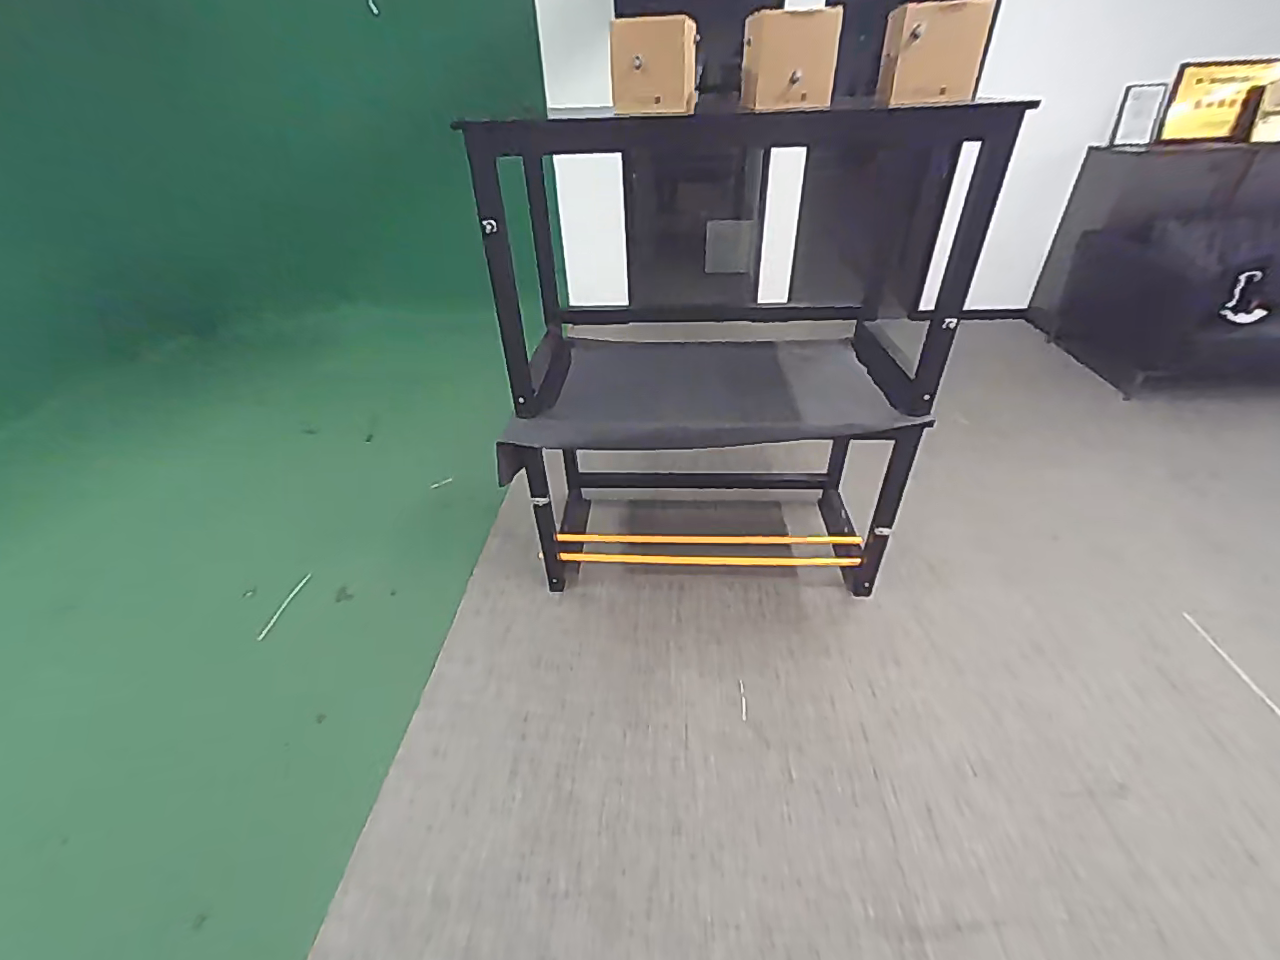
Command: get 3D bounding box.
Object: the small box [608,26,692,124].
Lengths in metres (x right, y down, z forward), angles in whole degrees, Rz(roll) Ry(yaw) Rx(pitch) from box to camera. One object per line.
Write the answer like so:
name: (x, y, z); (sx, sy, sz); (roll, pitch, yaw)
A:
small box: (0.030, -0.928, 1.250); (0.168, 0.176, 0.179); (5, 36, 10)

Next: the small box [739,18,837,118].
small box: (0.322, -0.920, 1.217); (0.168, 0.176, 0.179); (-3, 36, 0)
